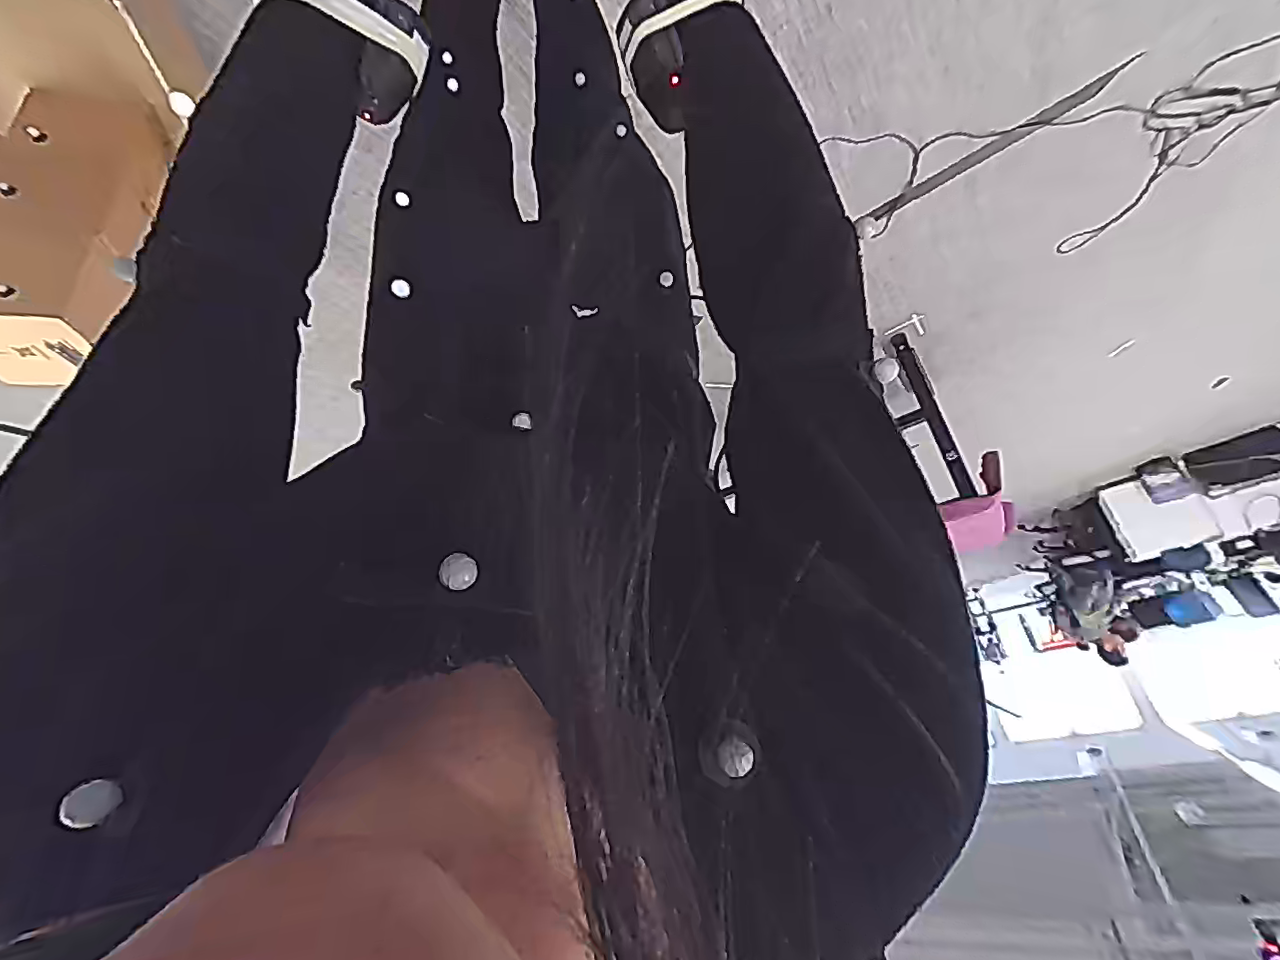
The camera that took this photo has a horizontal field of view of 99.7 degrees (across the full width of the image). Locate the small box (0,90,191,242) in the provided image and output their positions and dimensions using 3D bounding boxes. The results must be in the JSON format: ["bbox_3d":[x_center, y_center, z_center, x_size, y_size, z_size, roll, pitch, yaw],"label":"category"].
[{"bbox_3d":[-0.962,-0.563,0.975,0.179,0.176,0.168,-2,155,-16],"label":"small box"}]

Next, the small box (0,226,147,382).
[{"bbox_3d":[-0.918,-0.269,0.839,0.179,0.176,0.168,-2,155,-13],"label":"small box"}]
